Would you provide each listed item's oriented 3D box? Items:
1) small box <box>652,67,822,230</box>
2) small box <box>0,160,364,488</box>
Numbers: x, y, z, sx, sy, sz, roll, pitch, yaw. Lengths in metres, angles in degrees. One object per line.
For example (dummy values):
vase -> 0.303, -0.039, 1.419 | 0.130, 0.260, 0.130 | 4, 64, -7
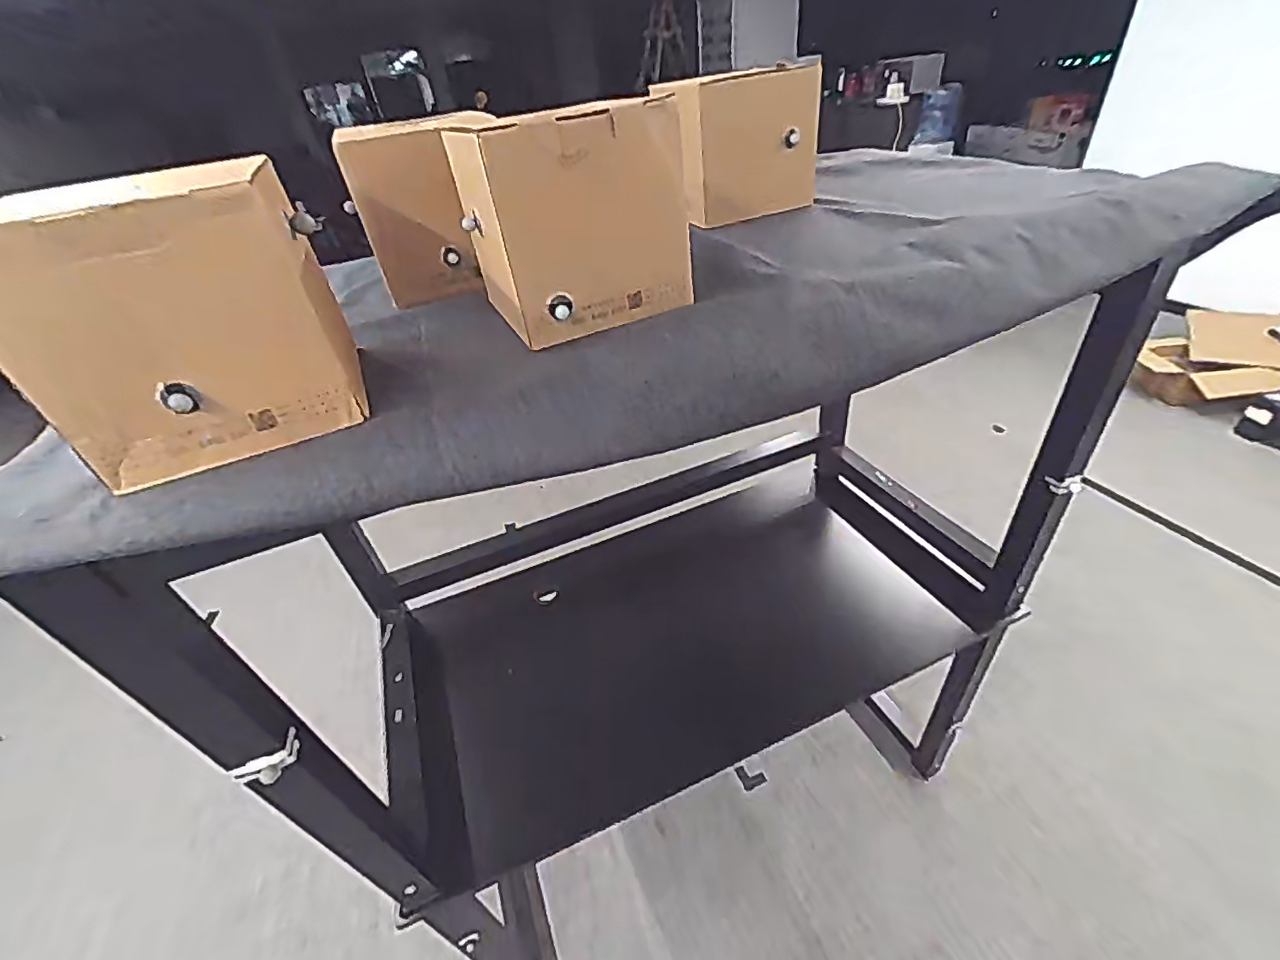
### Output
small box -> 0.130, -0.472, 0.771 | 0.179, 0.176, 0.168 | -18, 38, -13
small box -> -0.324, -0.122, 0.398 | 0.168, 0.176, 0.179 | -22, 40, -17
